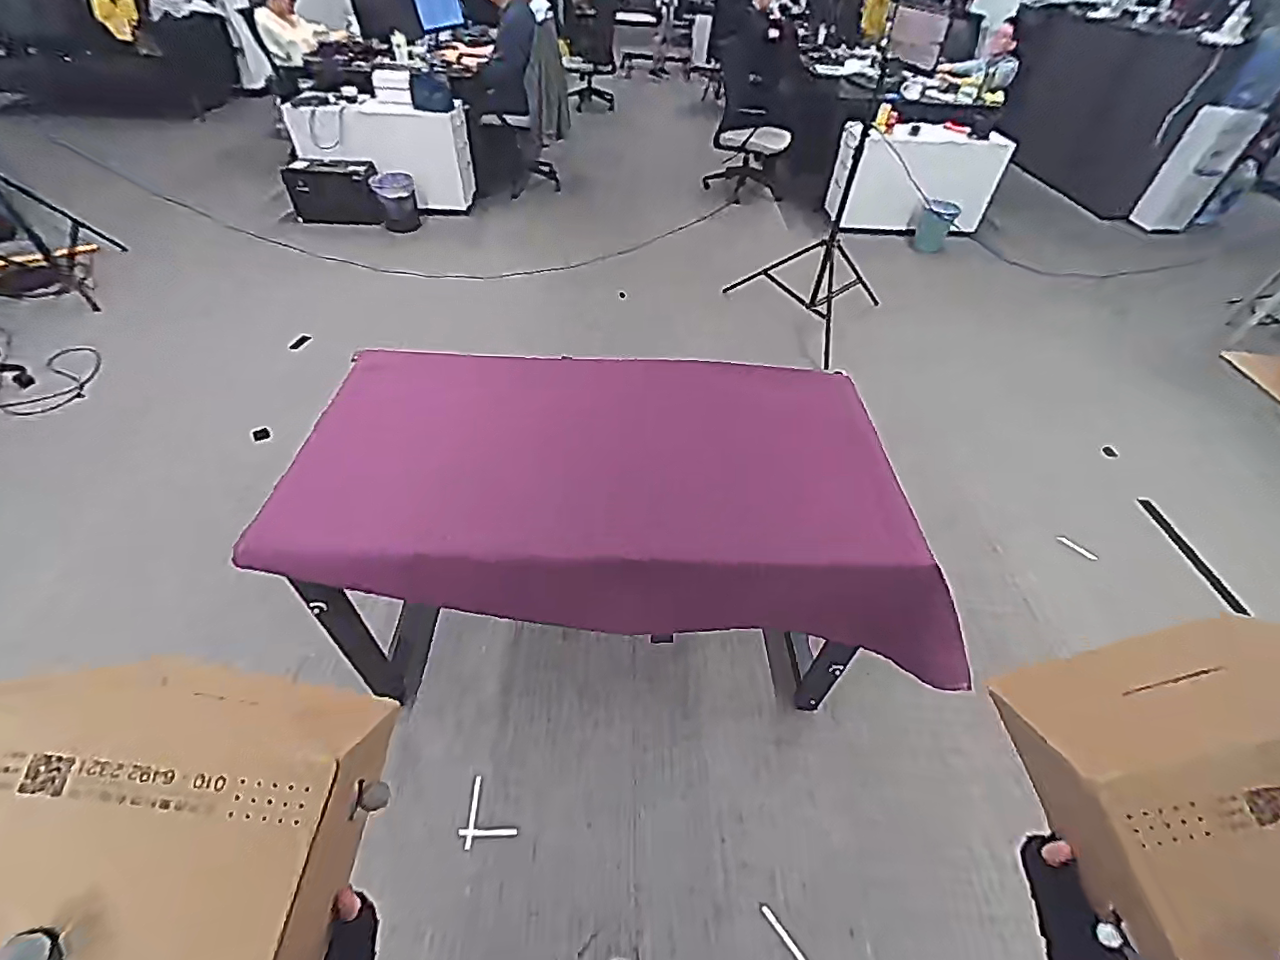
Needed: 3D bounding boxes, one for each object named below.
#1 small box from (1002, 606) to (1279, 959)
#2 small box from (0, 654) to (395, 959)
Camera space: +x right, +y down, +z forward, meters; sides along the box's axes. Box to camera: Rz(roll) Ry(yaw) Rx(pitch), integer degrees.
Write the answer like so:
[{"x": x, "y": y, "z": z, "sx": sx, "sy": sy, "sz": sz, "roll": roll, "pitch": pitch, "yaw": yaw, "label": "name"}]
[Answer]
[{"x": 0.337, "y": 0.182, "z": 0.294, "sx": 0.168, "sy": 0.179, "sz": 0.176, "roll": -22, "pitch": 80, "yaw": 15, "label": "small box"}, {"x": -0.246, "y": 0.190, "z": 0.278, "sx": 0.168, "sy": 0.179, "sz": 0.176, "roll": 15, "pitch": 72, "yaw": -11, "label": "small box"}]
